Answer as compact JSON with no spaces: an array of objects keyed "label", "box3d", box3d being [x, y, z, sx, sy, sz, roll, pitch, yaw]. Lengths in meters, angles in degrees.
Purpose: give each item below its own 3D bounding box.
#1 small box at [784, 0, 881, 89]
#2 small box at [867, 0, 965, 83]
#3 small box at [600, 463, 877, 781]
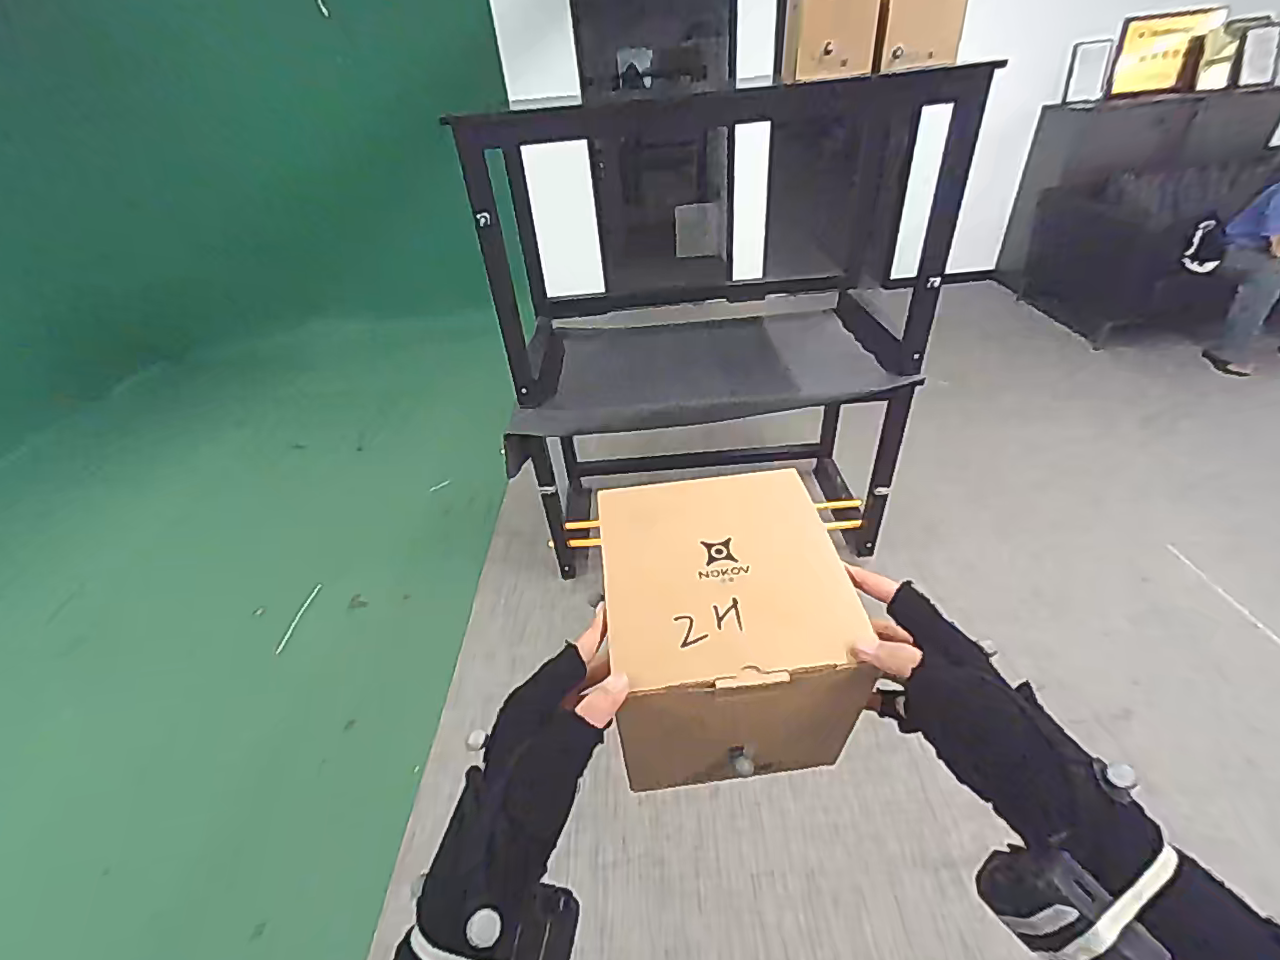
[{"label":"small box","box3d":[0.429,-0.999,1.232,0.168,0.176,0.179,-2,37,5]},{"label":"small box","box3d":[0.610,-1.013,1.221,0.168,0.176,0.179,-3,36,4]},{"label":"small box","box3d":[0.058,0.110,0.433,0.168,0.176,0.179,-7,41,-1]}]
